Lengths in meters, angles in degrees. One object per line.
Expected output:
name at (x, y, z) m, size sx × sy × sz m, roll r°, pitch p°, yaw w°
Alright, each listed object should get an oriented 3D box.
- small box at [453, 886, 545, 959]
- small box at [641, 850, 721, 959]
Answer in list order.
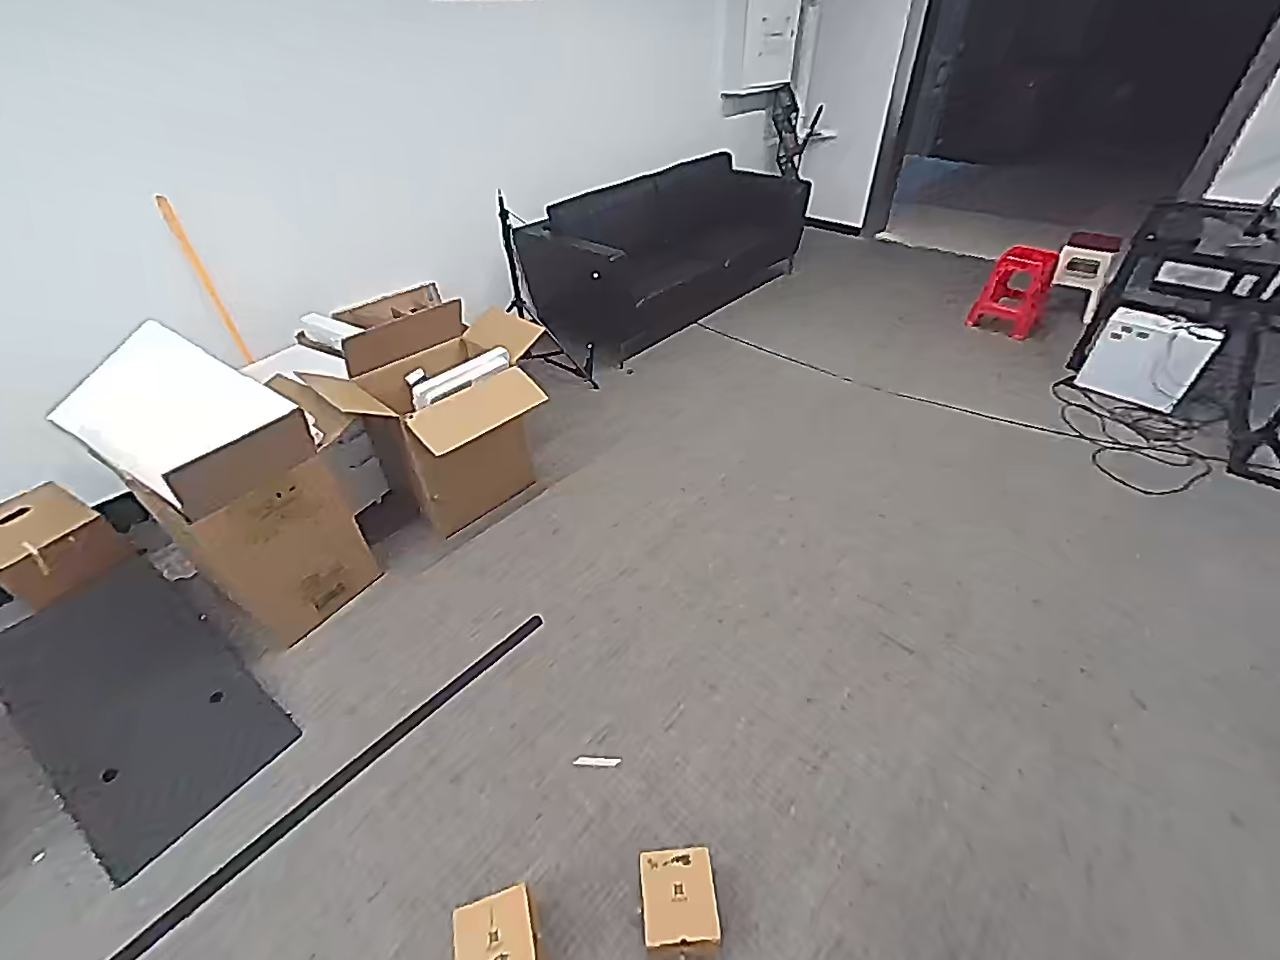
small box at (-0.308, 1.054, 1.203) m, size 0.168 × 0.176 × 0.179 m, roll -13°, pitch 40°, yaw -13°
small box at (0.090, 0.993, 1.260) m, size 0.168 × 0.176 × 0.179 m, roll -3°, pitch 41°, yaw -2°
